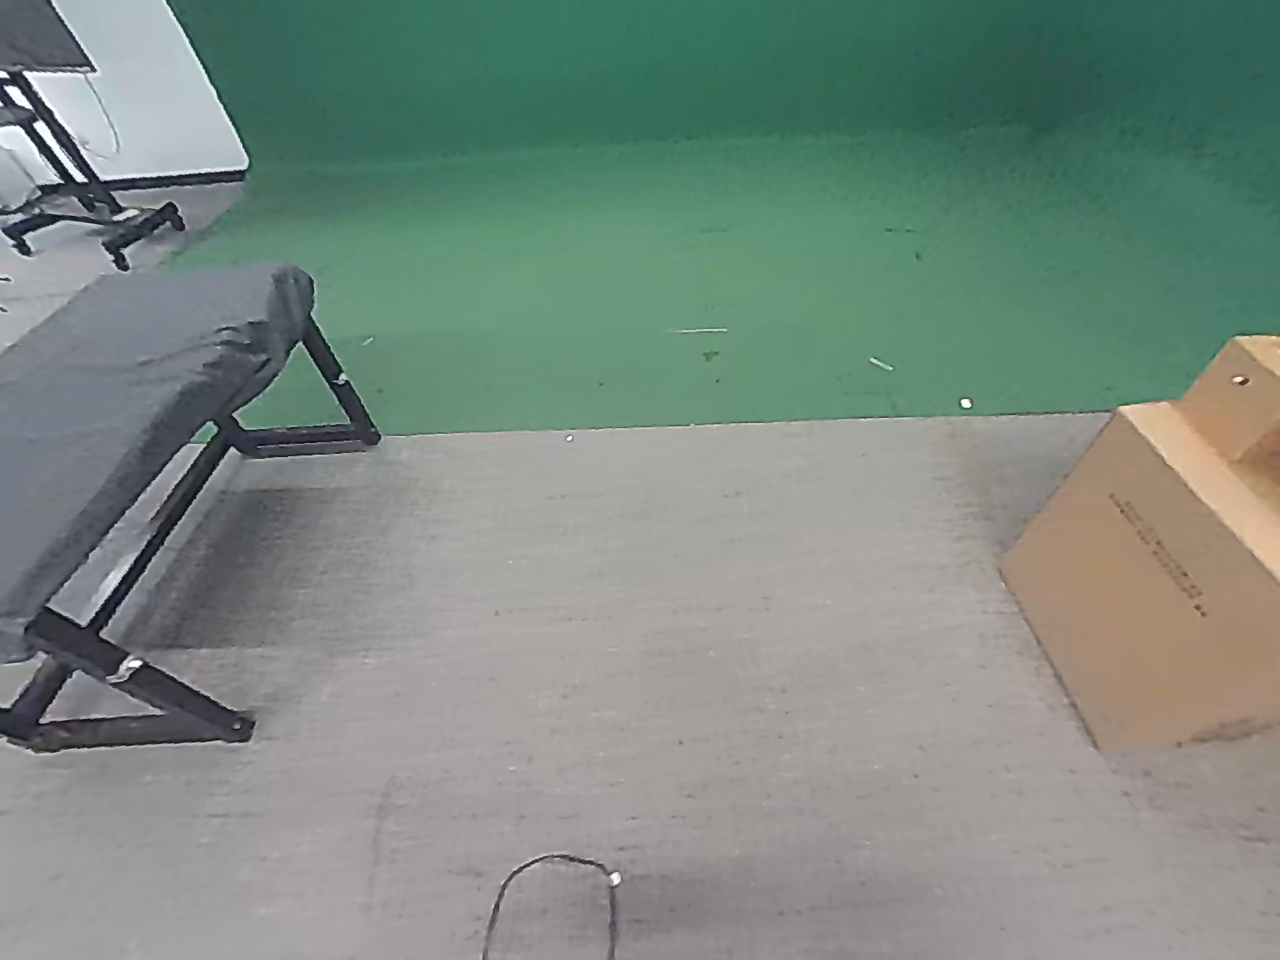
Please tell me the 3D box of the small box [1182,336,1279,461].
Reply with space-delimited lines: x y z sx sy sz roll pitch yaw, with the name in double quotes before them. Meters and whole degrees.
"small box" 1.206 -0.155 1.023 0.168 0.176 0.179 -3 48 6
